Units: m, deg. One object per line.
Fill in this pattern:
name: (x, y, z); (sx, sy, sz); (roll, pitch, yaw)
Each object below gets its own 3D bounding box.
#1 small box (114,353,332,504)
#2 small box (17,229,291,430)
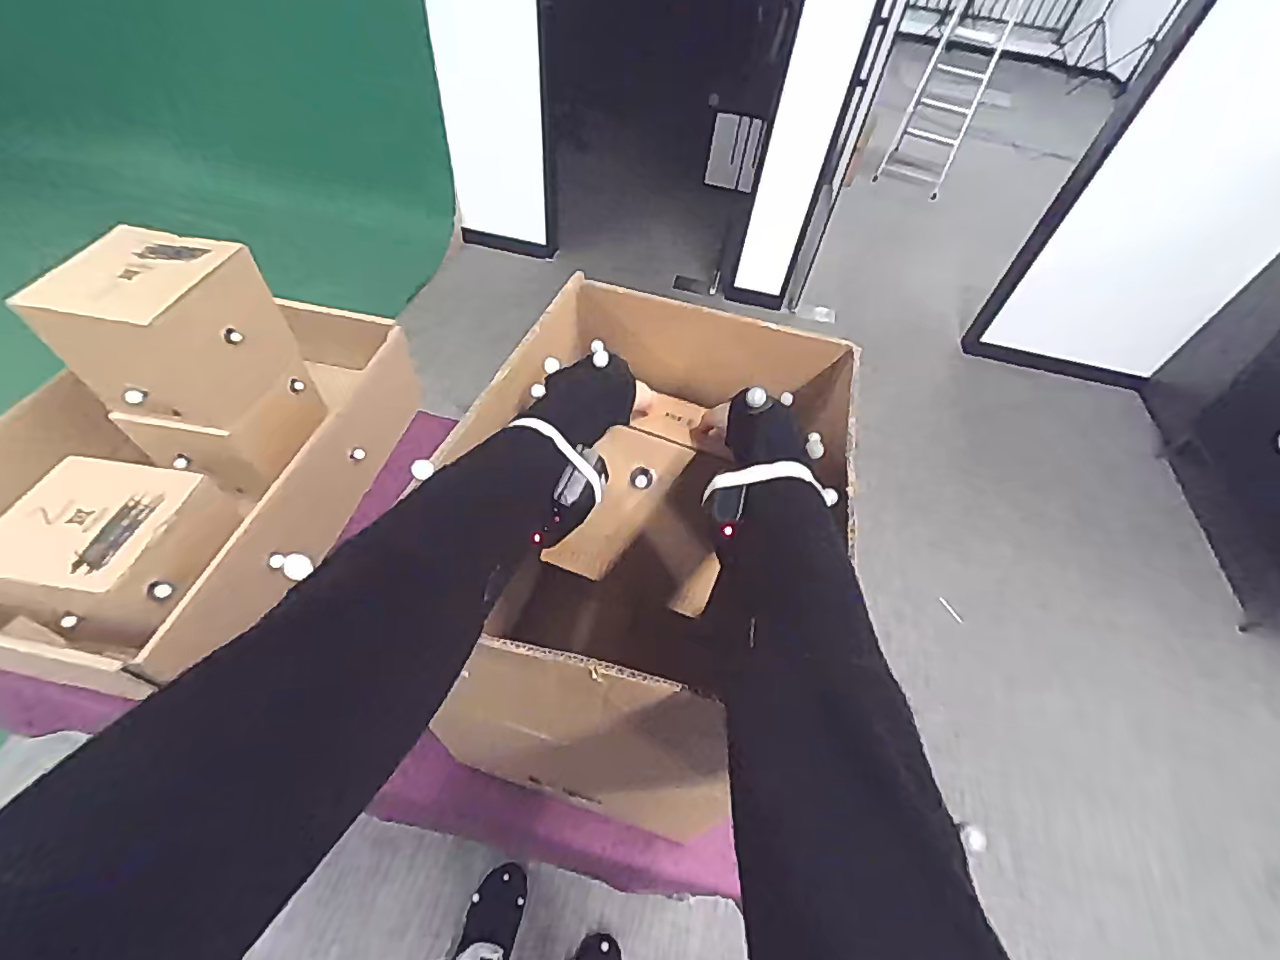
small box: (-0.610, -0.085, 0.825); (0.168, 0.176, 0.179); (9, 51, 2)
small box: (-0.596, -0.192, 0.701); (0.168, 0.176, 0.179); (9, 53, 3)
